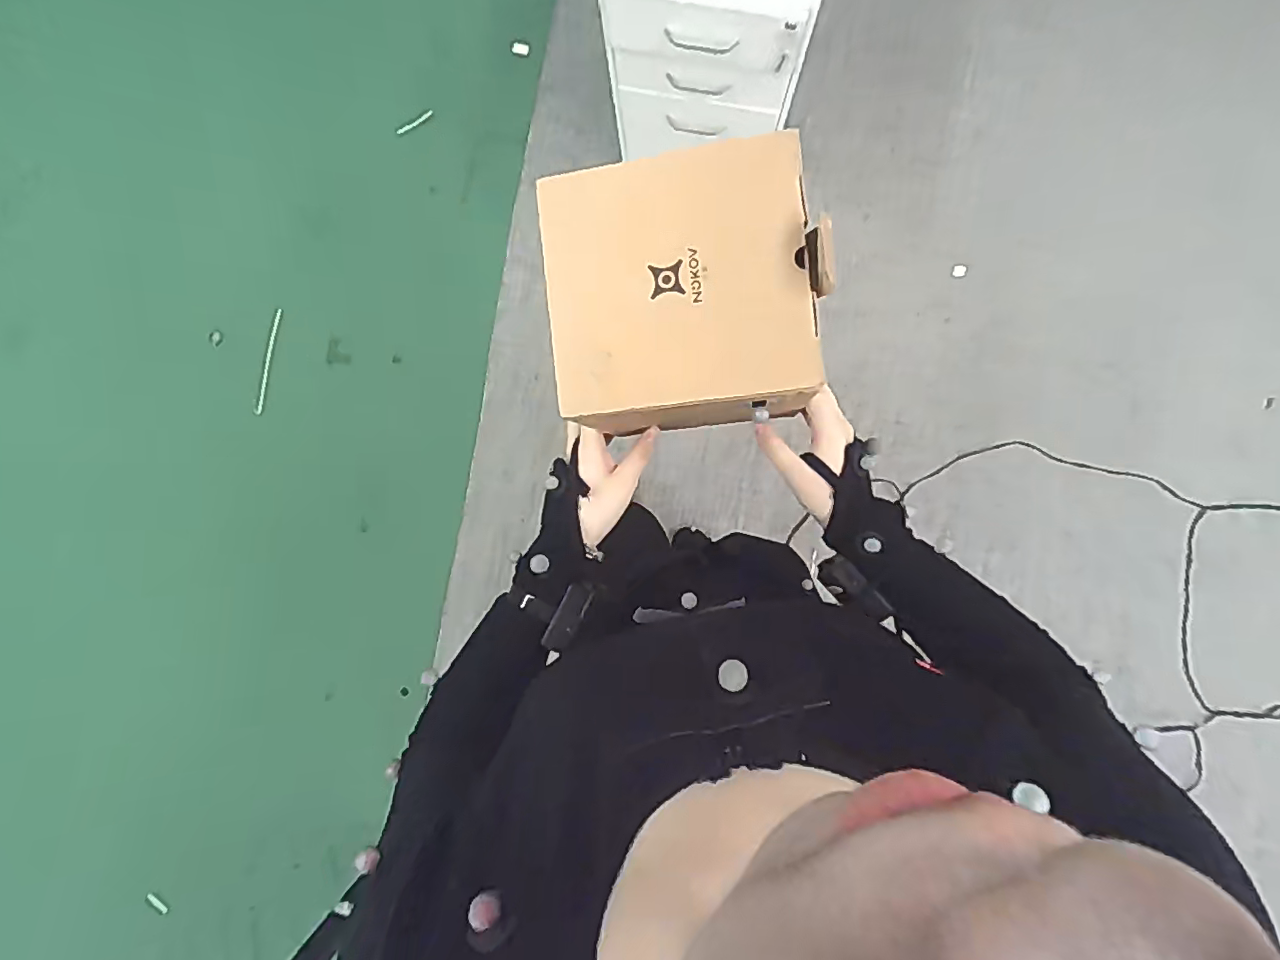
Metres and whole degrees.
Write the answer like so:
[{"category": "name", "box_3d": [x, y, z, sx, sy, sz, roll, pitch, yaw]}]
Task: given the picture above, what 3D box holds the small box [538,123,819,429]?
[{"category": "small box", "box_3d": [0.034, -0.137, 0.433, 0.179, 0.176, 0.168, -6, 89, 9]}]
